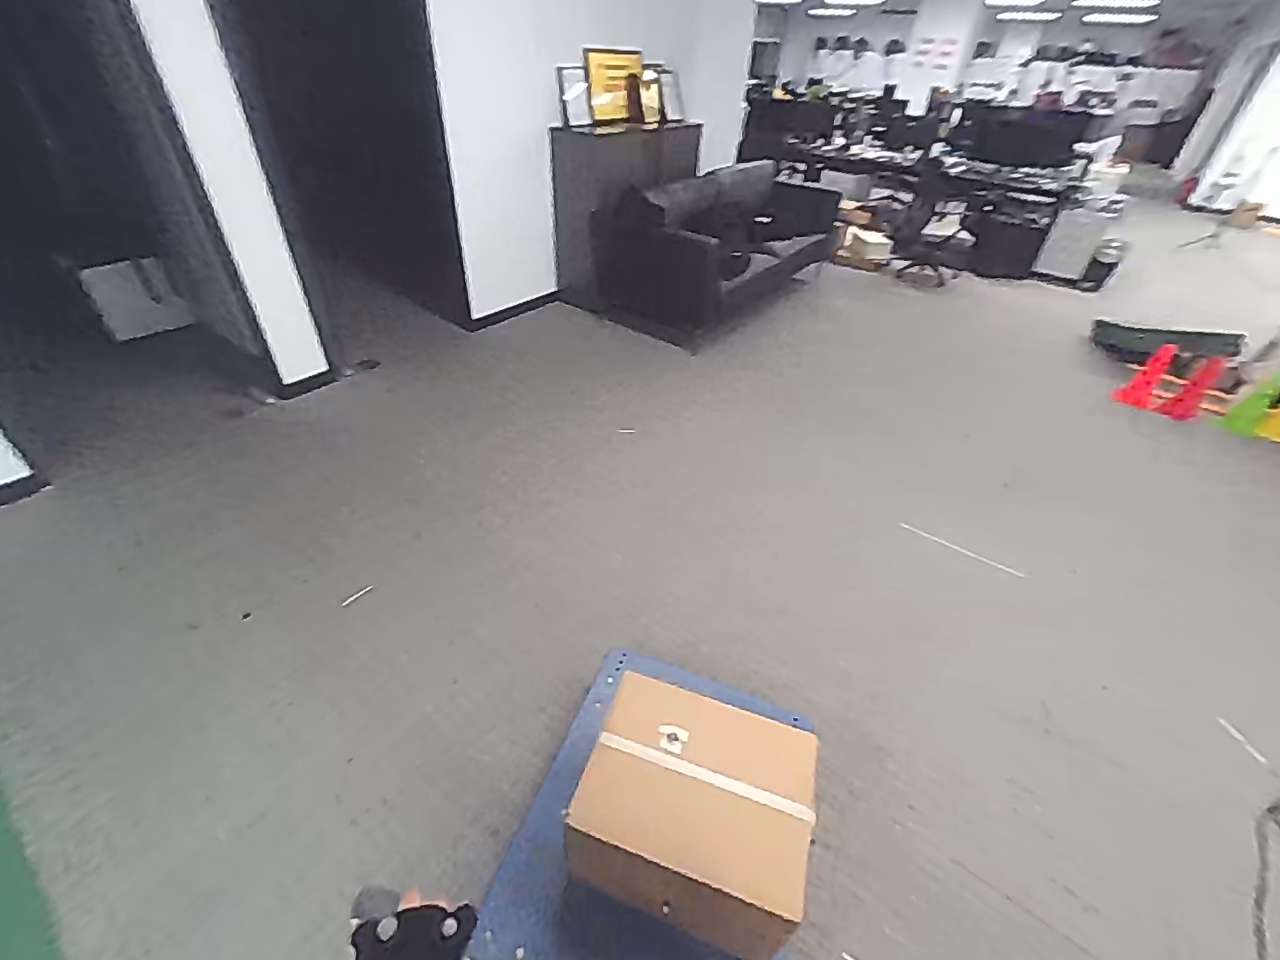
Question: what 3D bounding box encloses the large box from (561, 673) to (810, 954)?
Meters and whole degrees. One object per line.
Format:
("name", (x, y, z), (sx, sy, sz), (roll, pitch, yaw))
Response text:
("large box", (0.096, 0.659, 1.088), (0.408, 0.320, 0.320), (14, 39, 14))
